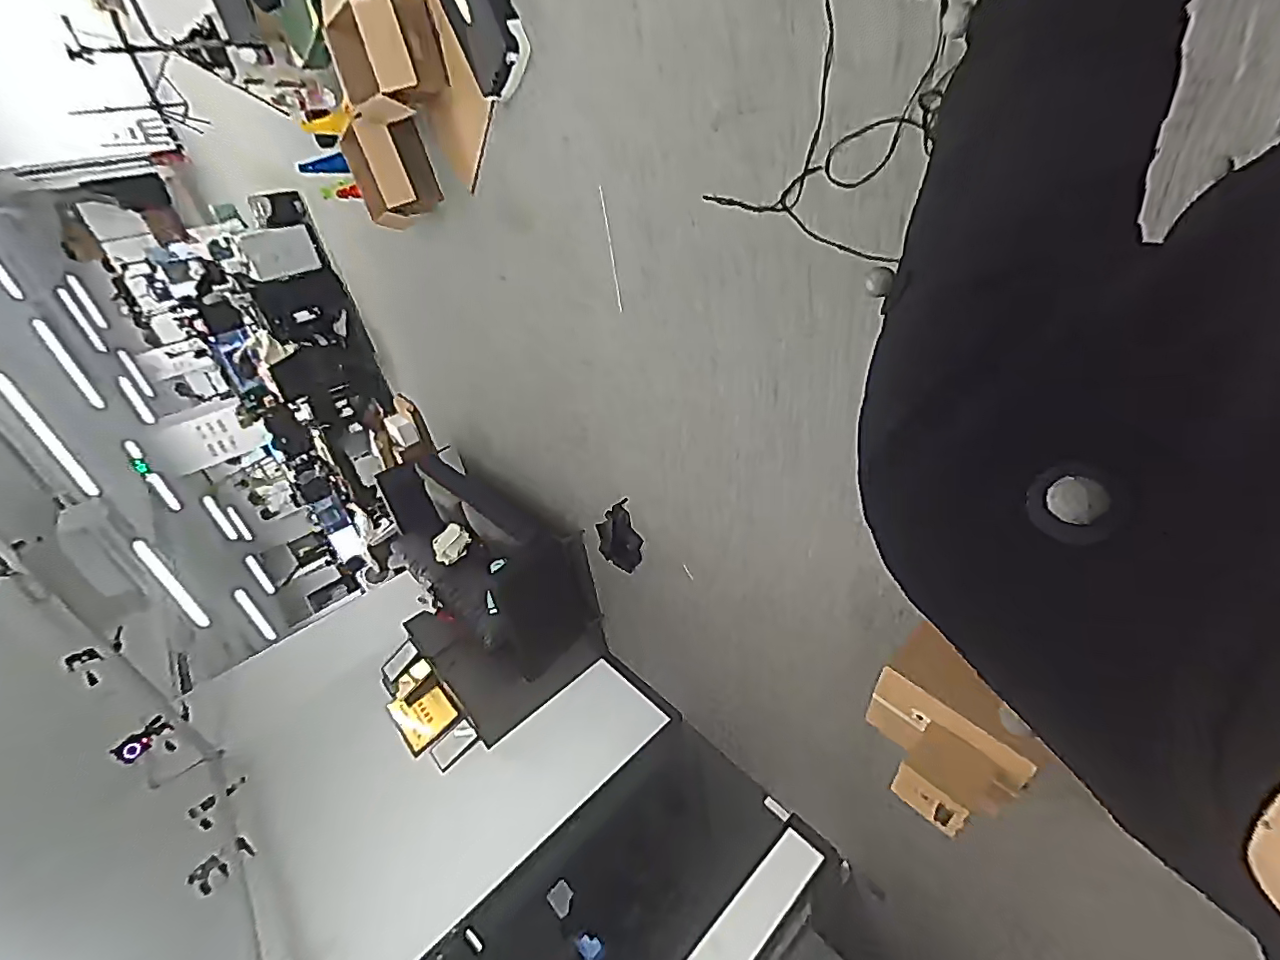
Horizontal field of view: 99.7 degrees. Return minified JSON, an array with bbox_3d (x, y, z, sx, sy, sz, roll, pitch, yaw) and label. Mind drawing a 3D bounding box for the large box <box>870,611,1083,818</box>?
[{"bbox_3d":[0.975,0.674,1.602,0.408,0.320,0.320,34,141,39],"label":"large box"}]
